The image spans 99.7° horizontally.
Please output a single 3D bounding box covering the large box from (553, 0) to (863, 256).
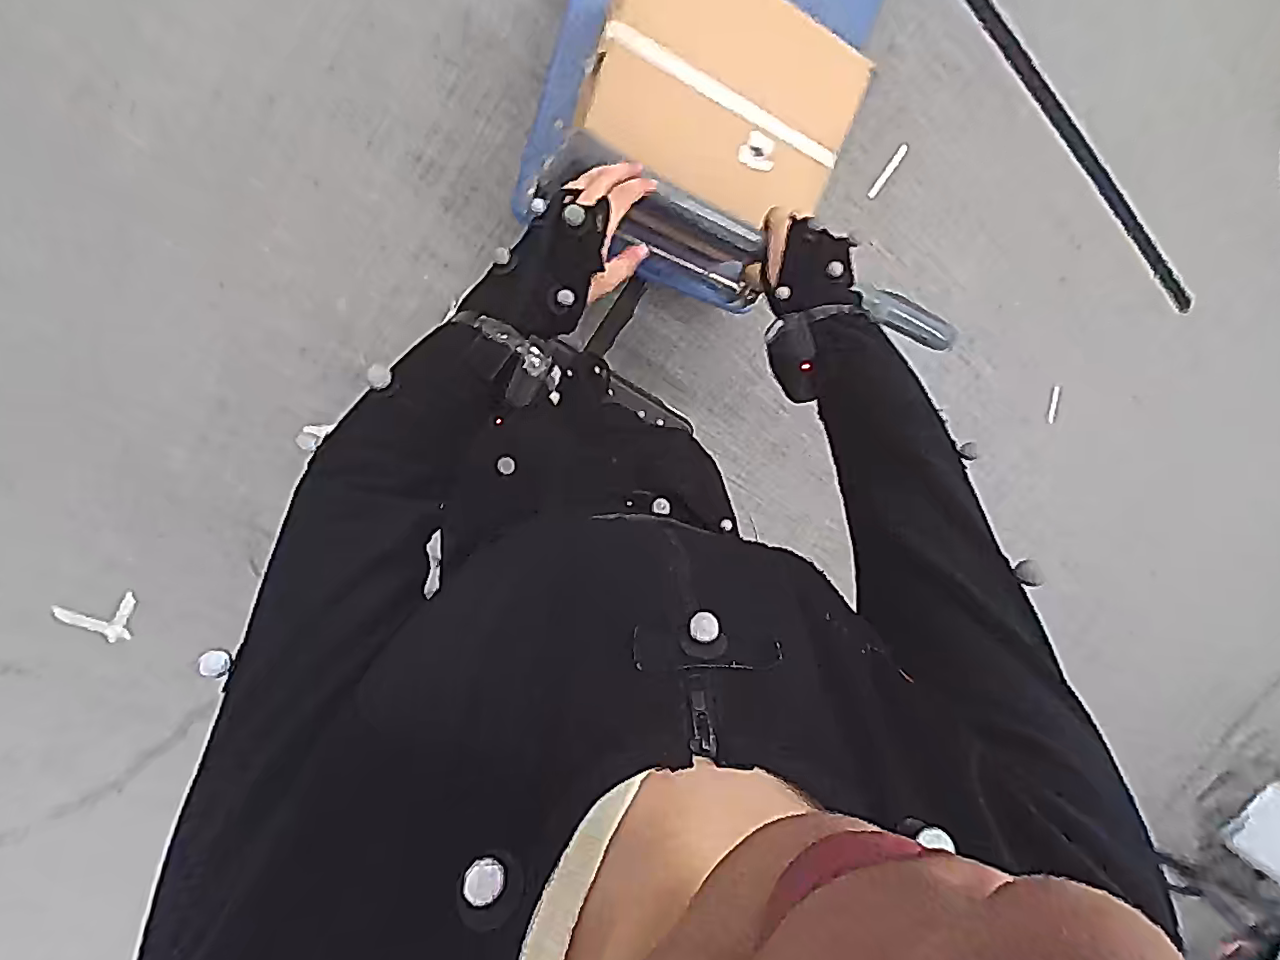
[{"bbox_3d":[0.092,-0.635,0.970,0.408,0.320,0.320,15,105,-22],"label":"large box"}]
